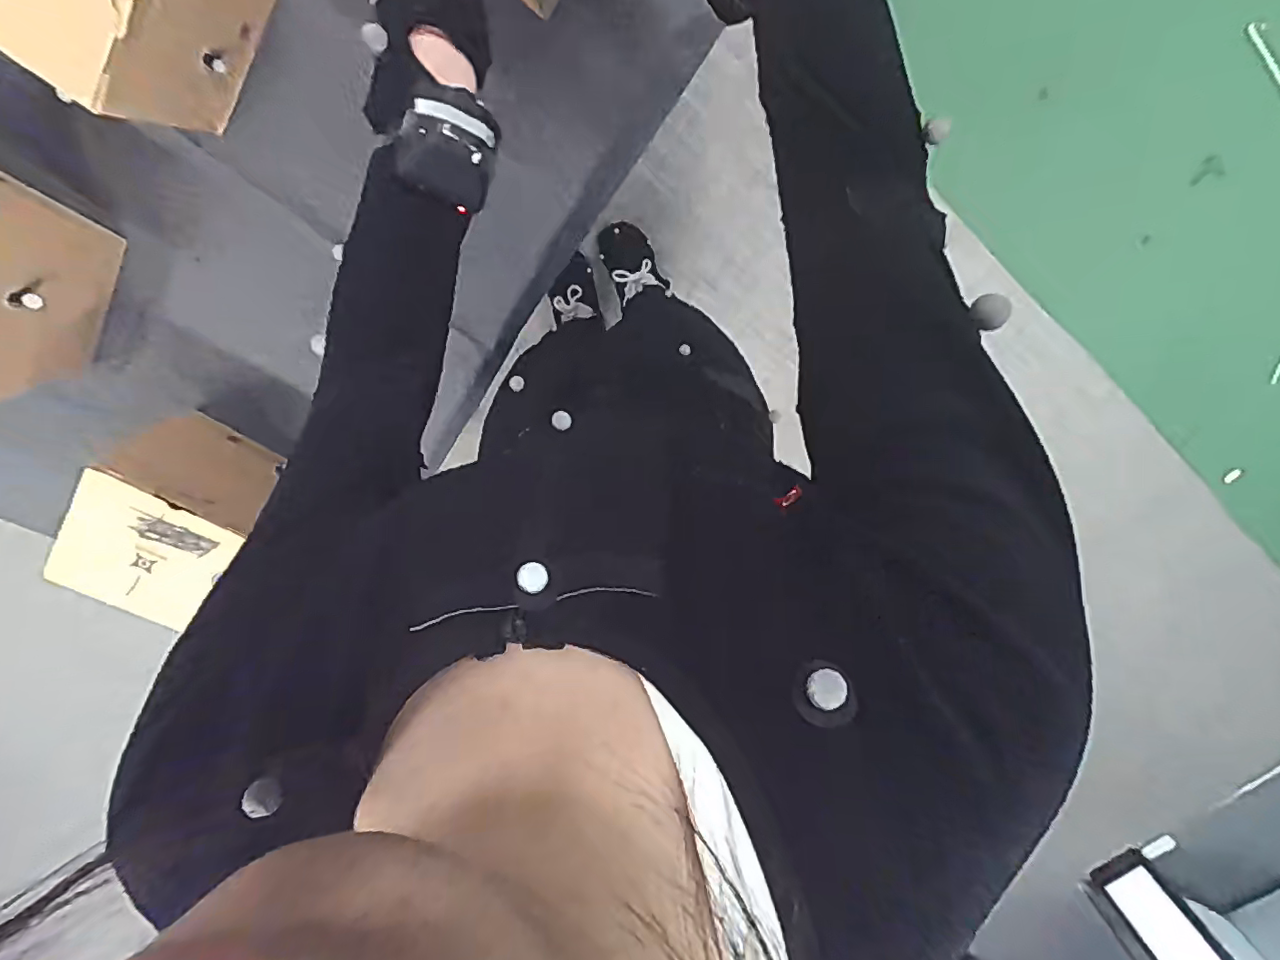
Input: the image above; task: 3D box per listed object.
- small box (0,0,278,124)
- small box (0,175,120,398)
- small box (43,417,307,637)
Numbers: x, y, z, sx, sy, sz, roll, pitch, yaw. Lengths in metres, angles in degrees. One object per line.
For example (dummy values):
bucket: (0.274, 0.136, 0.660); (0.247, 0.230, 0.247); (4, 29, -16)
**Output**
small box: (-0.447, -0.426, 0.438); (0.179, 0.176, 0.168); (32, 109, -21)
small box: (-0.670, -0.201, 0.525); (0.168, 0.176, 0.179); (31, 111, -21)
small box: (-0.553, 0.051, 0.671); (0.168, 0.176, 0.179); (34, 110, -20)
